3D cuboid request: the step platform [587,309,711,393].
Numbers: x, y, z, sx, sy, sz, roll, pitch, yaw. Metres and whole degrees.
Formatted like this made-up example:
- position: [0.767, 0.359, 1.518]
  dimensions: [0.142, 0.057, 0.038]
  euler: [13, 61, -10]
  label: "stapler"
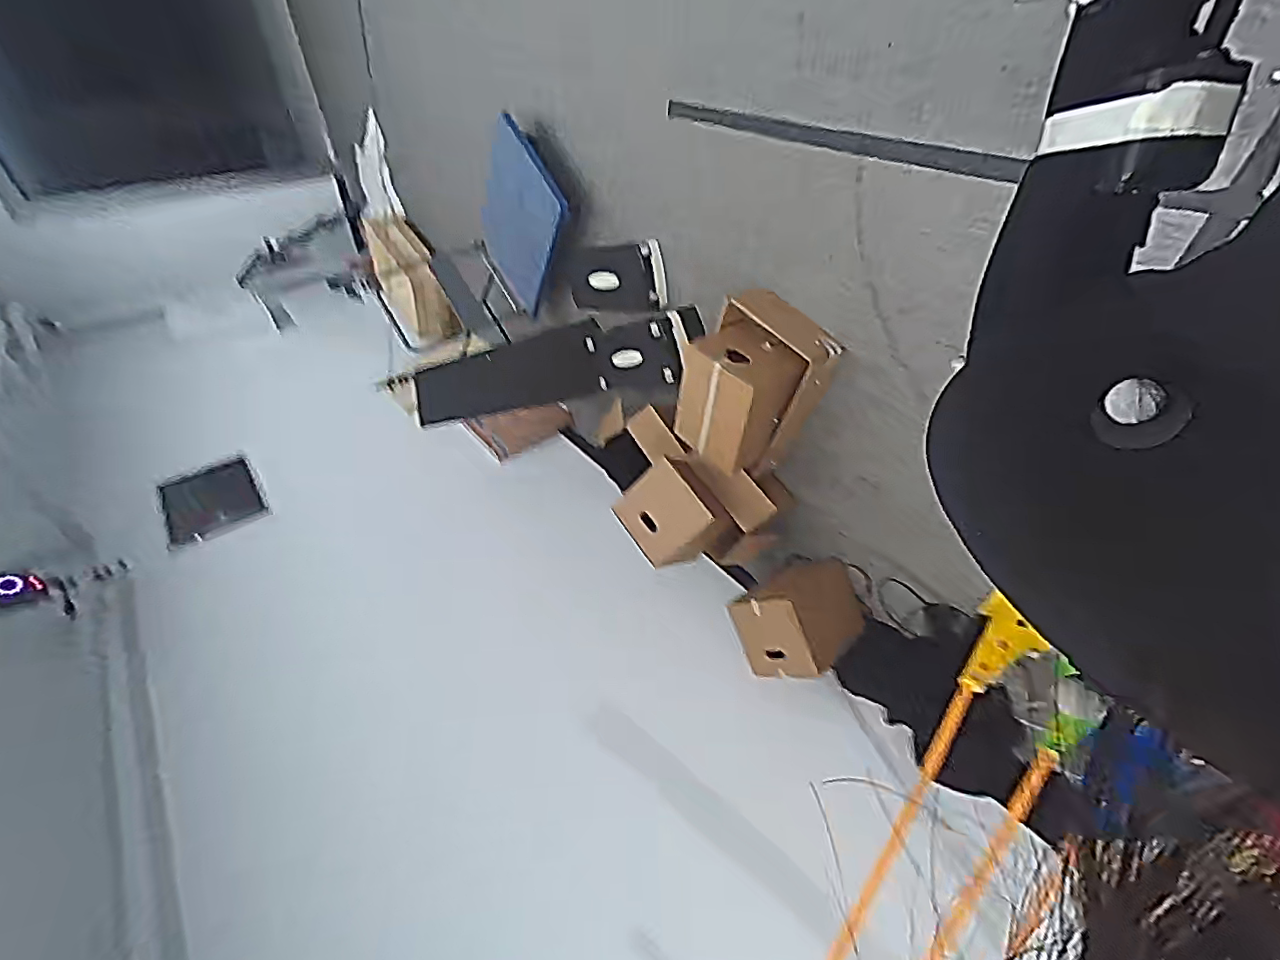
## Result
- position: [0.014, -0.576, 2.493]
  dimensions: [0.684, 0.204, 0.286]
  euler: [7, 120, 55]
  label: "step platform"
